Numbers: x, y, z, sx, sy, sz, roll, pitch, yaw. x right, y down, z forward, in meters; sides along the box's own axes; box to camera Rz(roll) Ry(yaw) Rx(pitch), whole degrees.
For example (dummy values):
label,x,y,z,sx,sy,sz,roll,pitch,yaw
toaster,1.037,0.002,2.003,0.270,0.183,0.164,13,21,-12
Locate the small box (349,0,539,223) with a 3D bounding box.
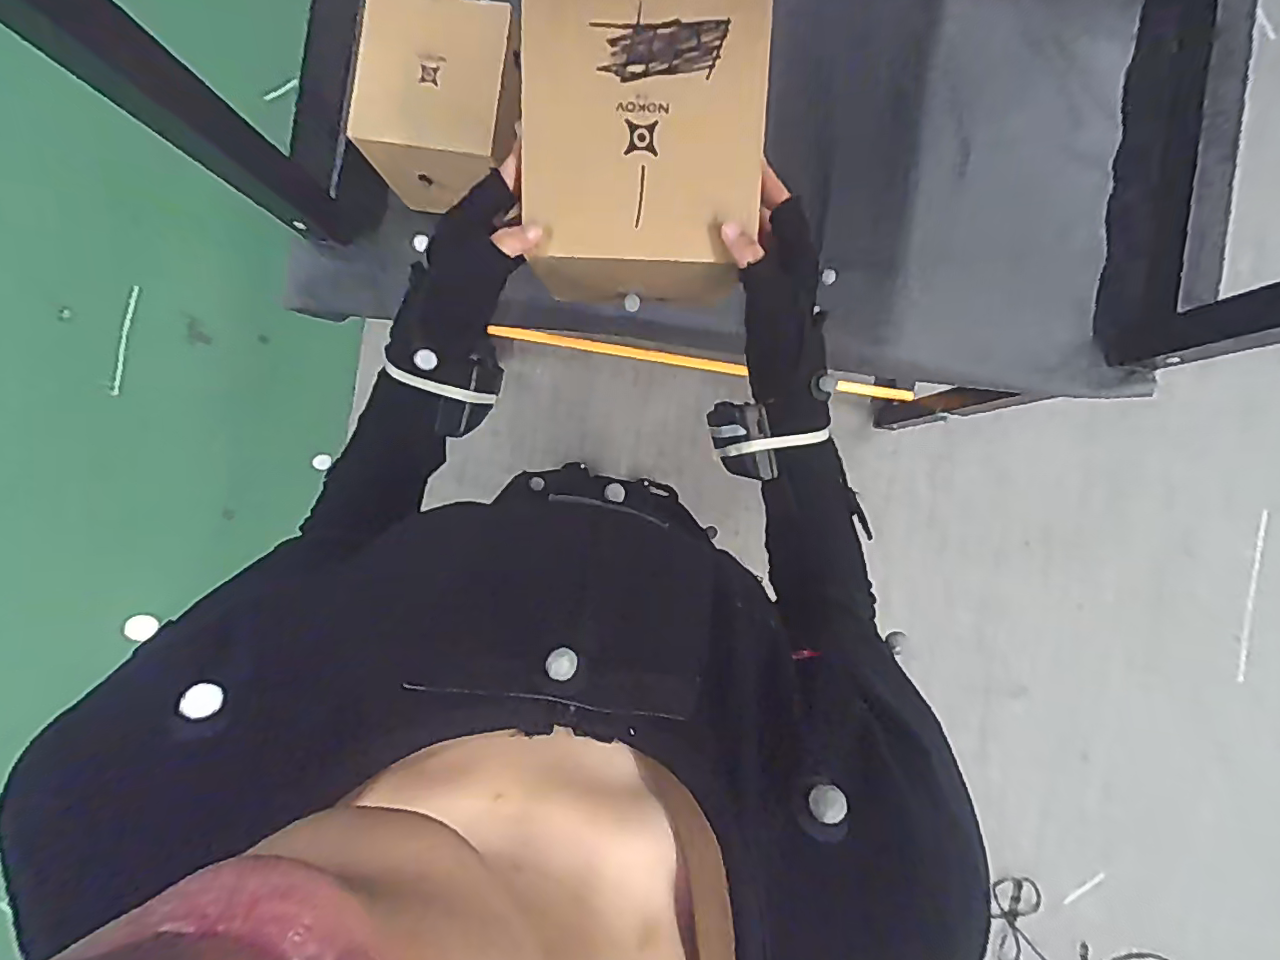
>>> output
label,x,y,z,sx,sy,sz,roll,pitch,yaw
small box,-0.231,-0.451,0.679,0.168,0.176,0.179,8,89,0
